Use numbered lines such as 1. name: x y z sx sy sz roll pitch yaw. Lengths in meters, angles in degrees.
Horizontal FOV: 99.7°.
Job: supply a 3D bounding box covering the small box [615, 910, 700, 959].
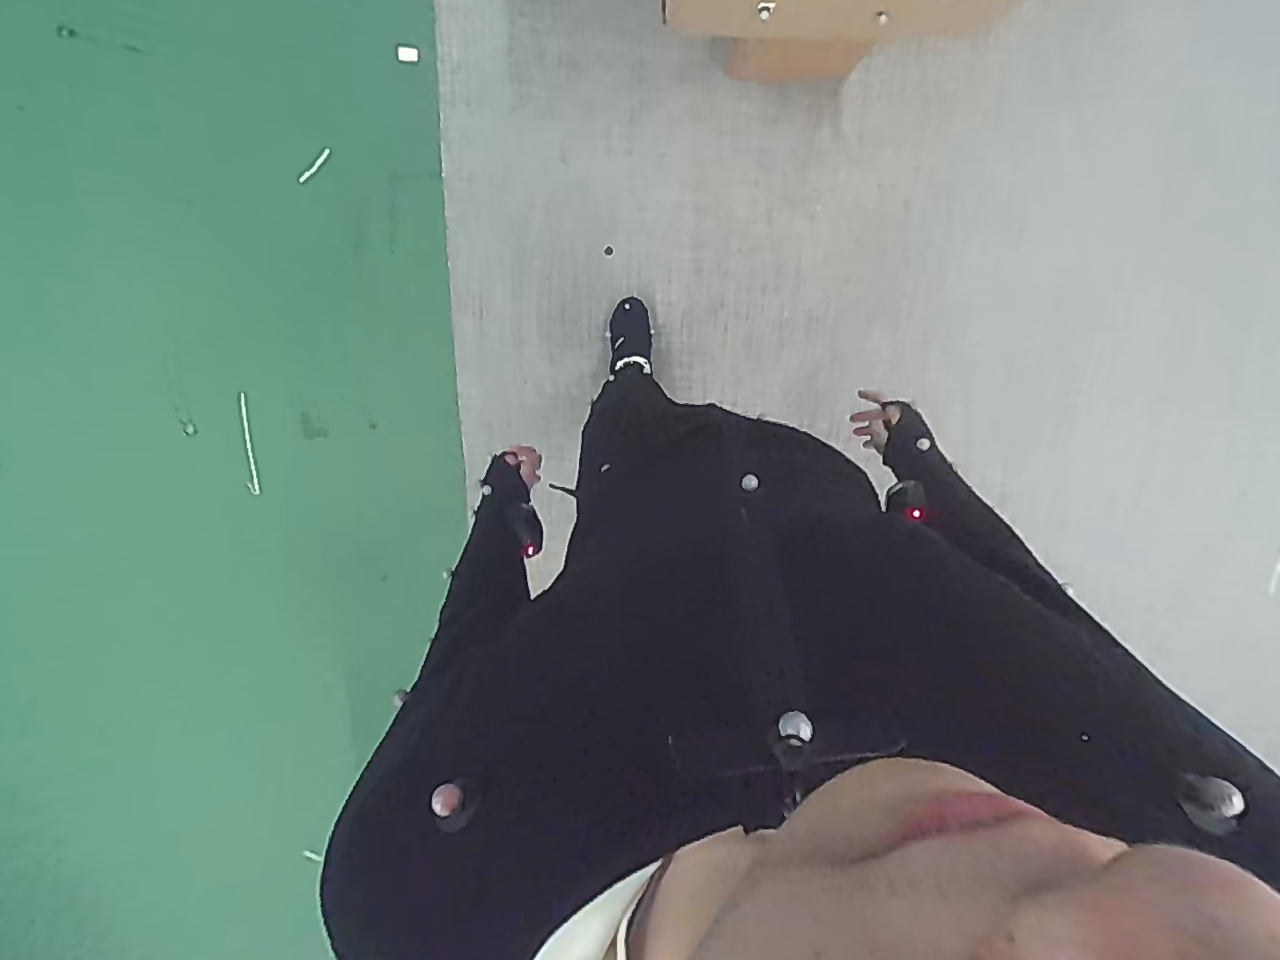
1. small box: 0.035 0.997 1.061 0.168 0.176 0.179 0 105 1
